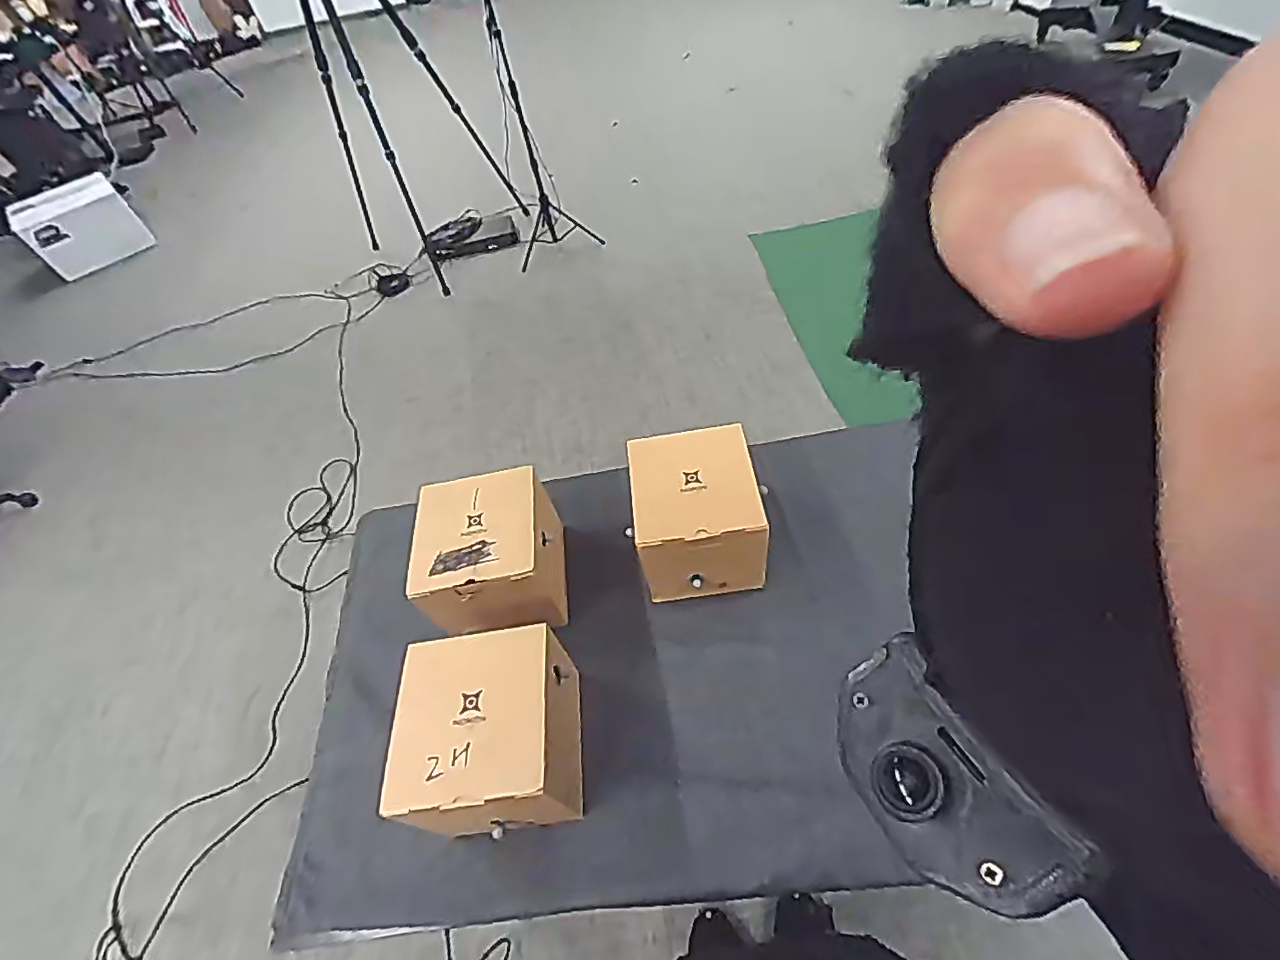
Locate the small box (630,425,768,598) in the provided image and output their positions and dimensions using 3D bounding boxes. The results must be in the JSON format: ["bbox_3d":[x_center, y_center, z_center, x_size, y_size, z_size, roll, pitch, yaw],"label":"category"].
[{"bbox_3d":[0.080,0.048,0.777,0.168,0.176,0.179,-9,54,3],"label":"small box"}]

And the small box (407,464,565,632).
[{"bbox_3d":[-0.207,0.107,0.777,0.168,0.176,0.179,-11,52,1],"label":"small box"}]

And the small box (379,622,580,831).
[{"bbox_3d":[-0.169,0.290,0.631,0.168,0.176,0.179,-9,51,3],"label":"small box"}]
